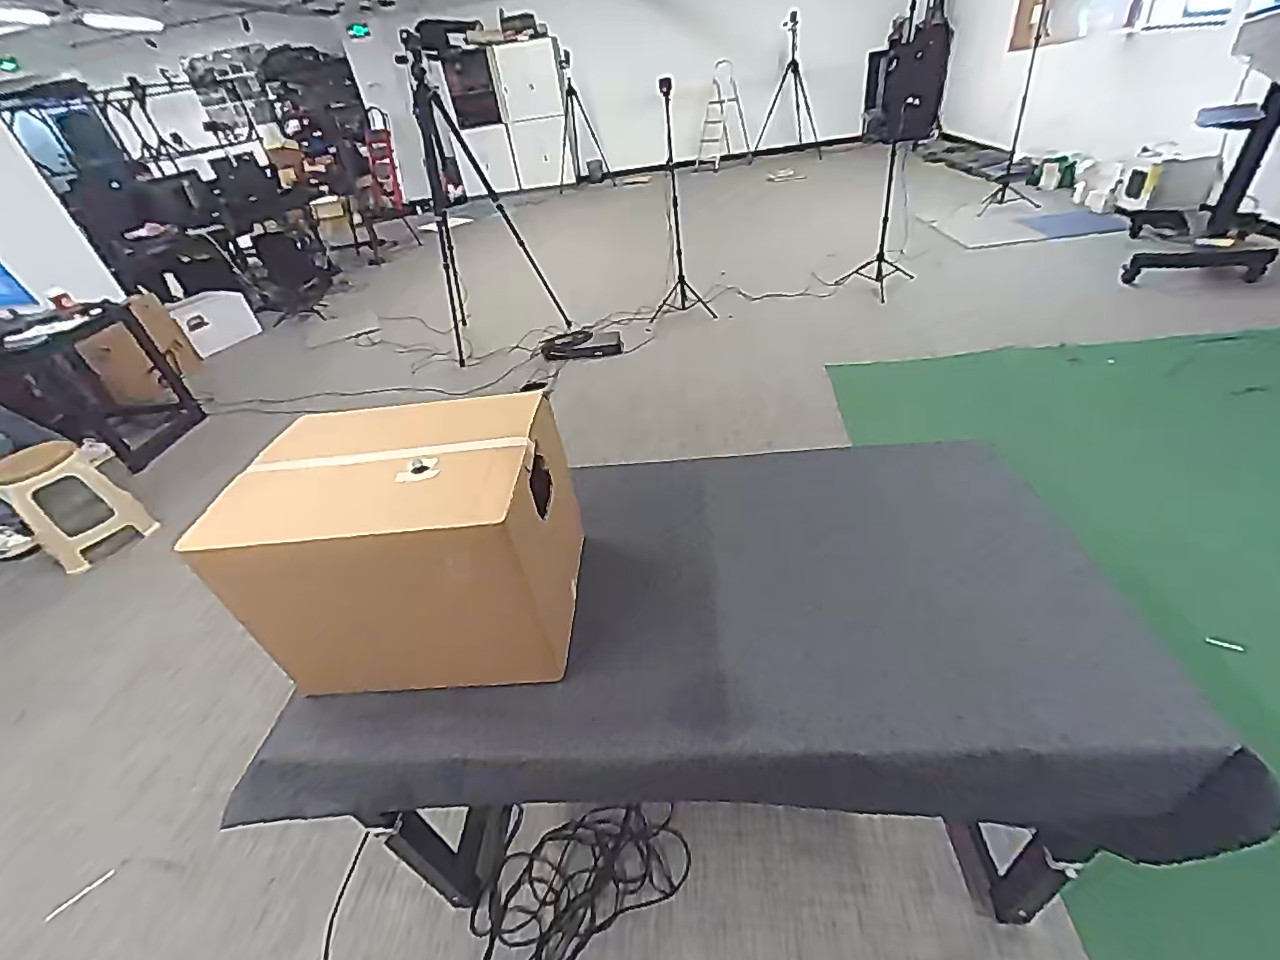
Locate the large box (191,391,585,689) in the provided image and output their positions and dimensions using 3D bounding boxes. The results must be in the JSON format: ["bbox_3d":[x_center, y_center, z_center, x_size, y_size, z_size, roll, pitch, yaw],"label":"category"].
[{"bbox_3d":[-0.316,0.088,0.825,0.408,0.320,0.320,-5,38,4],"label":"large box"}]
